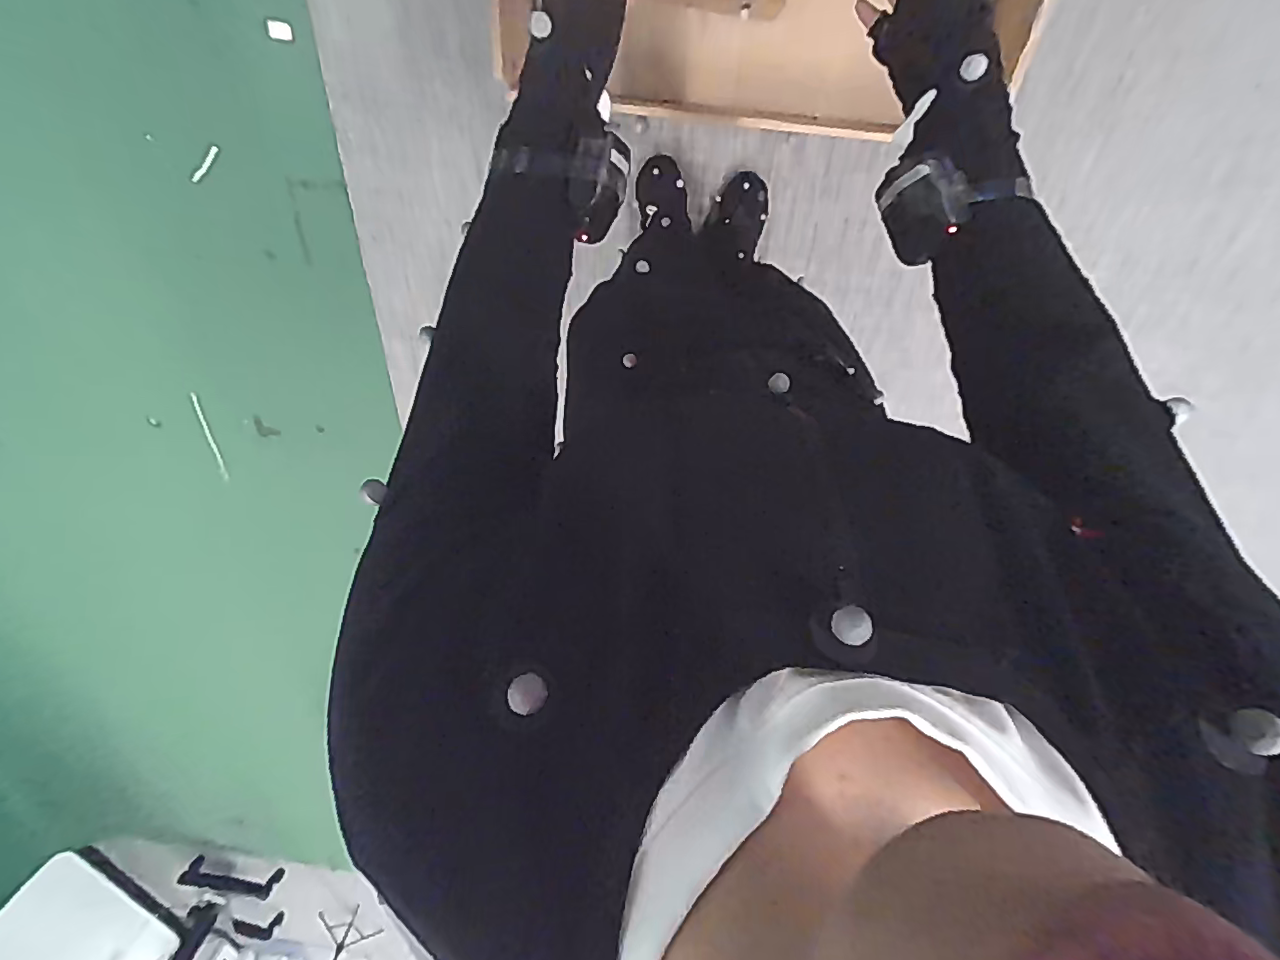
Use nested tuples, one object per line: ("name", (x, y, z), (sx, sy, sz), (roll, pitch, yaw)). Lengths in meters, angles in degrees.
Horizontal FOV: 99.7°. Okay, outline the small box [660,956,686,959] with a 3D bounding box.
("small box", (0.148, 1.723, 1.798), (0.179, 0.176, 0.168), (3, 124, 8))
